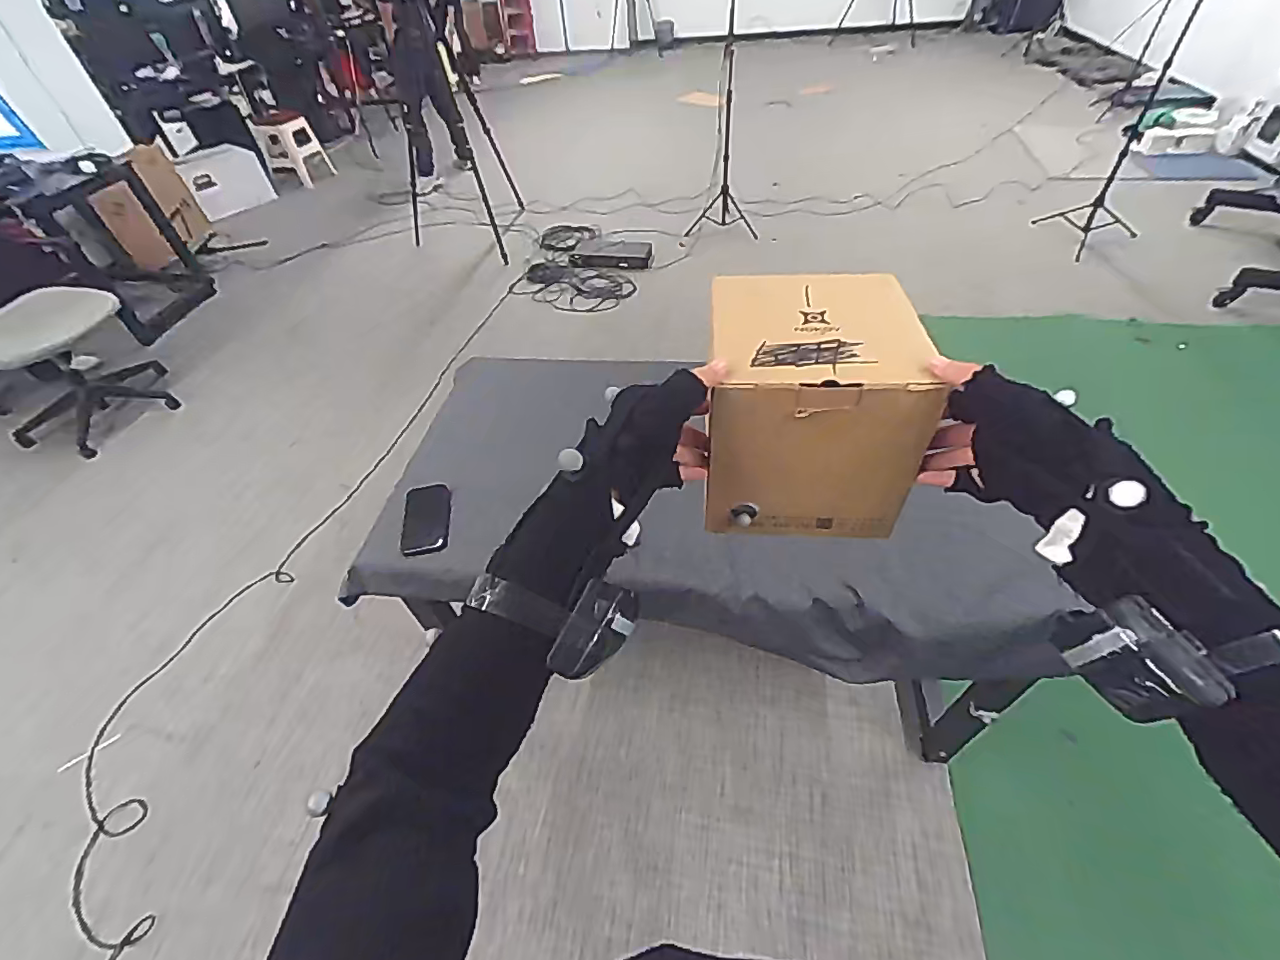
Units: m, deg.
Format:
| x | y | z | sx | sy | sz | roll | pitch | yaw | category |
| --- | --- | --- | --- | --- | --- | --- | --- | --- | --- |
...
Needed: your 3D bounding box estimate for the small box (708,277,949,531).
| x | y | z | sx | sy | sz | roll | pitch | yaw | category |
| --- | --- | --- | --- | --- | --- | --- | --- | --- | --- |
| 0.150 | -0.068 | 0.499 | 0.168 | 0.176 | 0.179 | 1 | 44 | 6 | small box |
